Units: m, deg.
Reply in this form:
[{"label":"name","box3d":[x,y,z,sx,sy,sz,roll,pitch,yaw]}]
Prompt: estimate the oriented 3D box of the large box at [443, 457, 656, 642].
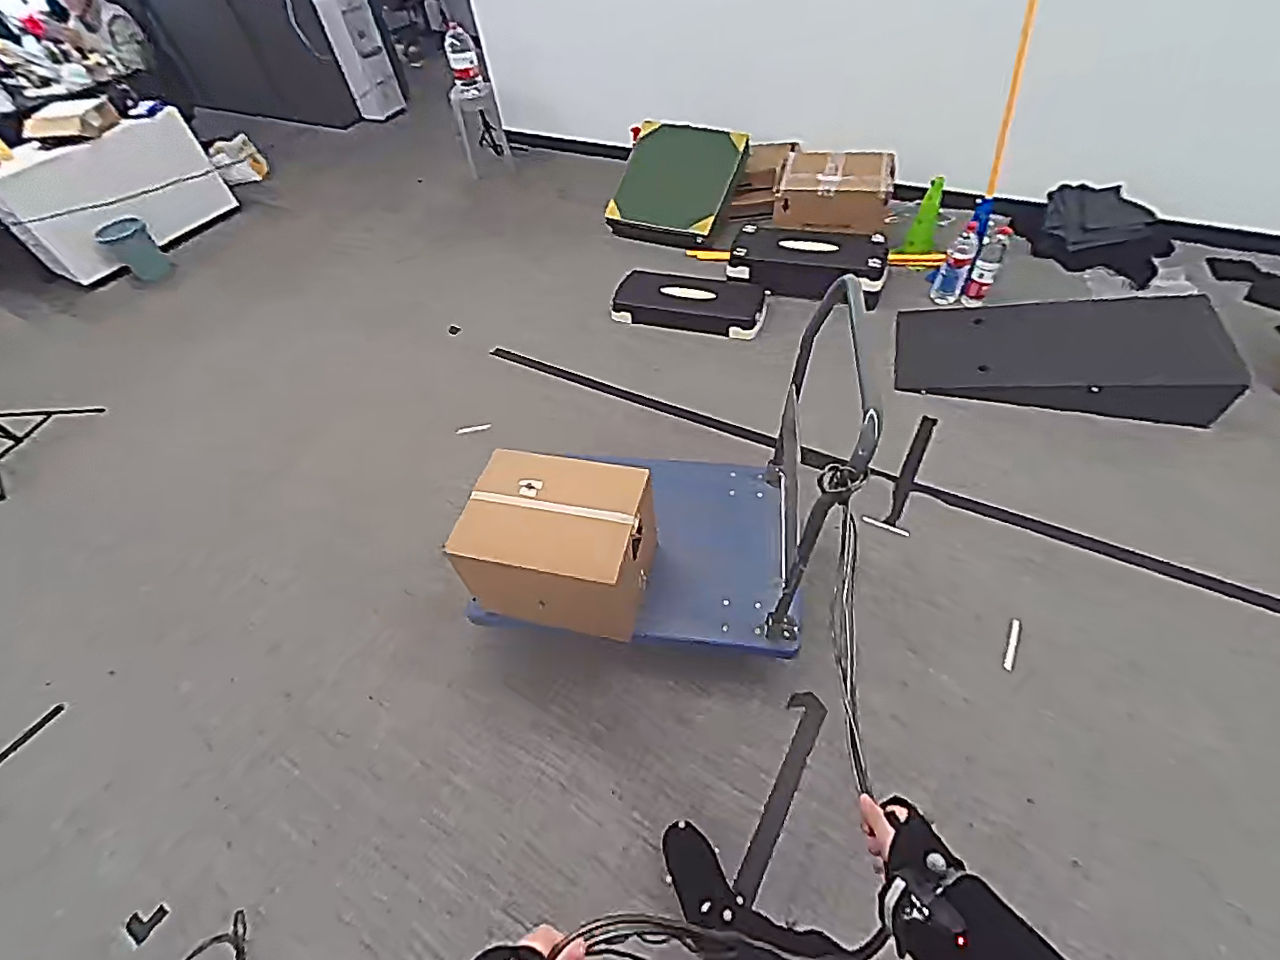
[{"label":"large box","box3d":[-0.191,0.173,1.343,0.408,0.320,0.320,7,52,13]}]
